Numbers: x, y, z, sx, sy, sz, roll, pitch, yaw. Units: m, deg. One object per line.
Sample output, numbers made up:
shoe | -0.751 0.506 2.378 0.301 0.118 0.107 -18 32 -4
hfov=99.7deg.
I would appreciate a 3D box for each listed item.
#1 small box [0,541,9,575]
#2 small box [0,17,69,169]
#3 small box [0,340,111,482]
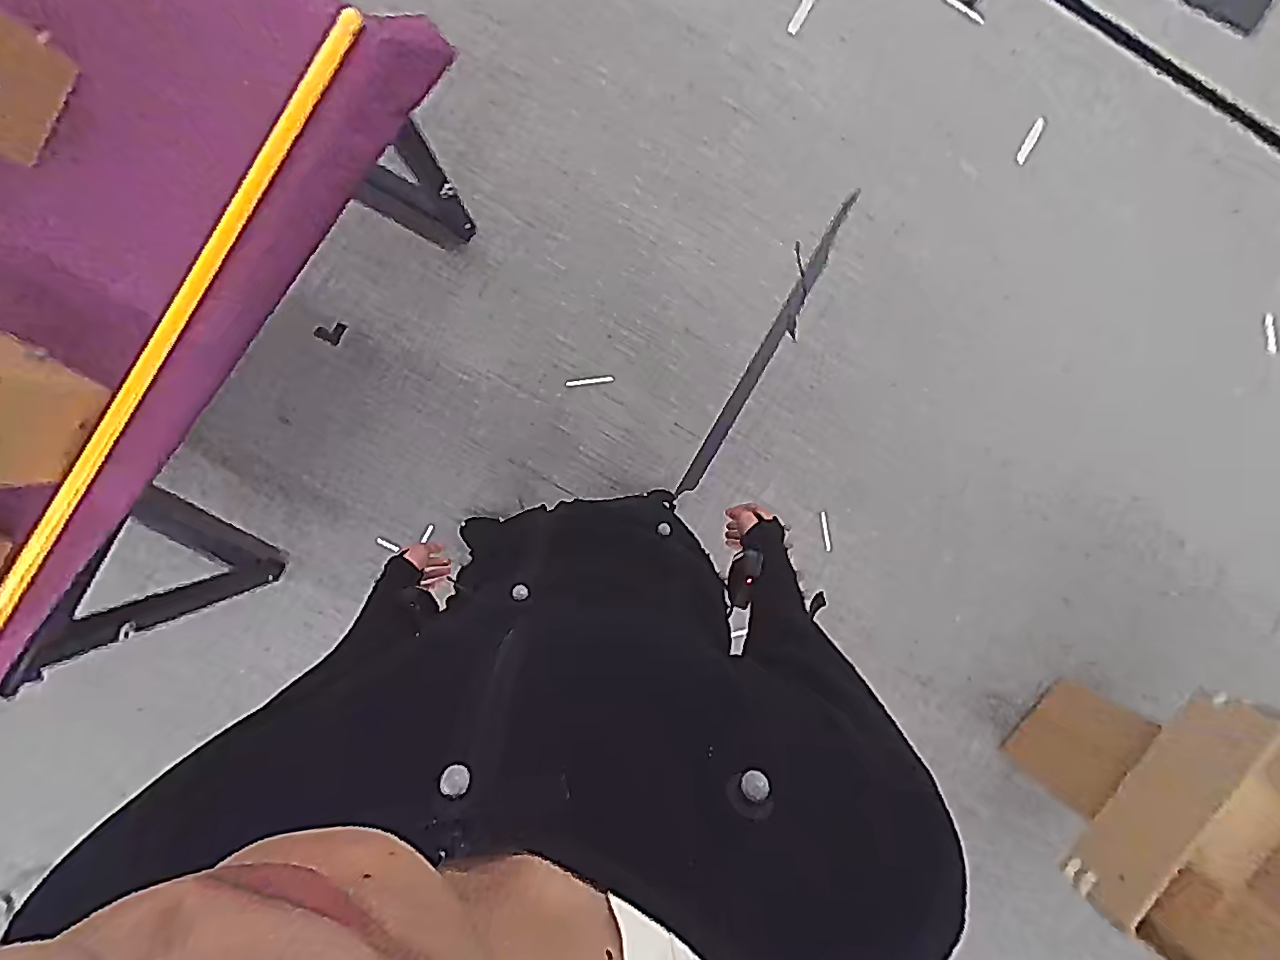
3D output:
small box | -1.077 0.136 0.760 0.168 0.176 0.179 28 90 -4
small box | -0.957 -0.576 0.735 0.168 0.176 0.179 26 92 -5
small box | -0.930 -0.102 0.759 0.179 0.176 0.168 29 91 -4
